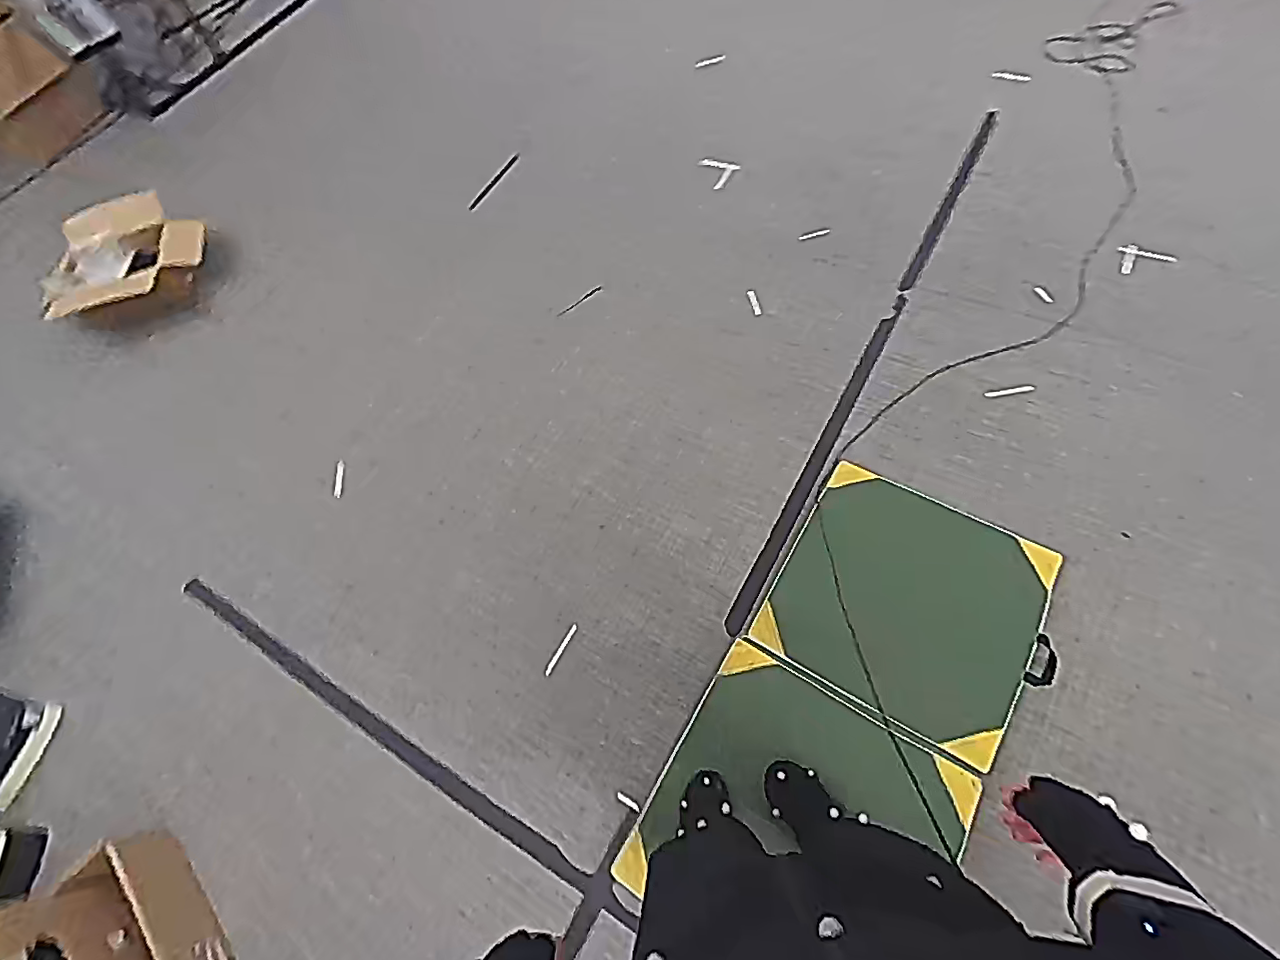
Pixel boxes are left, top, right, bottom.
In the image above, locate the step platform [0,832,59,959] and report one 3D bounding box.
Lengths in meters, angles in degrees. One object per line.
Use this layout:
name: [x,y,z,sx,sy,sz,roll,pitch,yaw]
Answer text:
step platform: [-1.912,1.065,1.378,0.684,0.204,0.286,-2,63,7]
